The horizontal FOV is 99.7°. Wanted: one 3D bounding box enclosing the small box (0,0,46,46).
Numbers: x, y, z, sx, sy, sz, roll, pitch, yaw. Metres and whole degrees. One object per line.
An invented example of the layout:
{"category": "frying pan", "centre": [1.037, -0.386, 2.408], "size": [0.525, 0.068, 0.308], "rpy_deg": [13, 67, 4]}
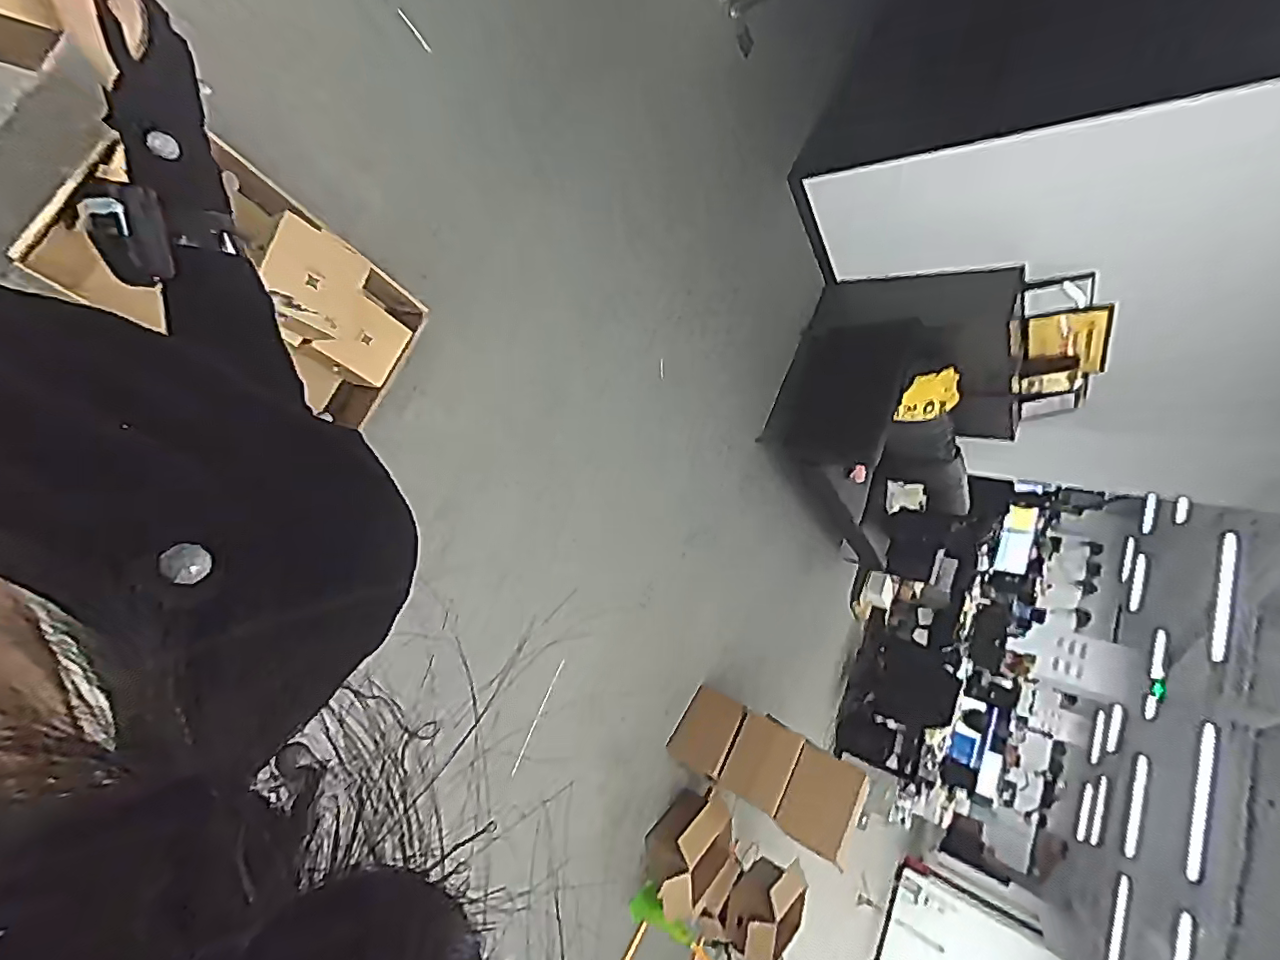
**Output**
{"category": "small box", "centre": [-0.467, -0.371, 0.290], "size": [0.179, 0.176, 0.168], "rpy_deg": [-13, 118, -49]}

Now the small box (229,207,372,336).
{"category": "small box", "centre": [-0.676, -0.404, 1.074], "size": [0.168, 0.176, 0.179], "rpy_deg": [28, 78, -49]}
